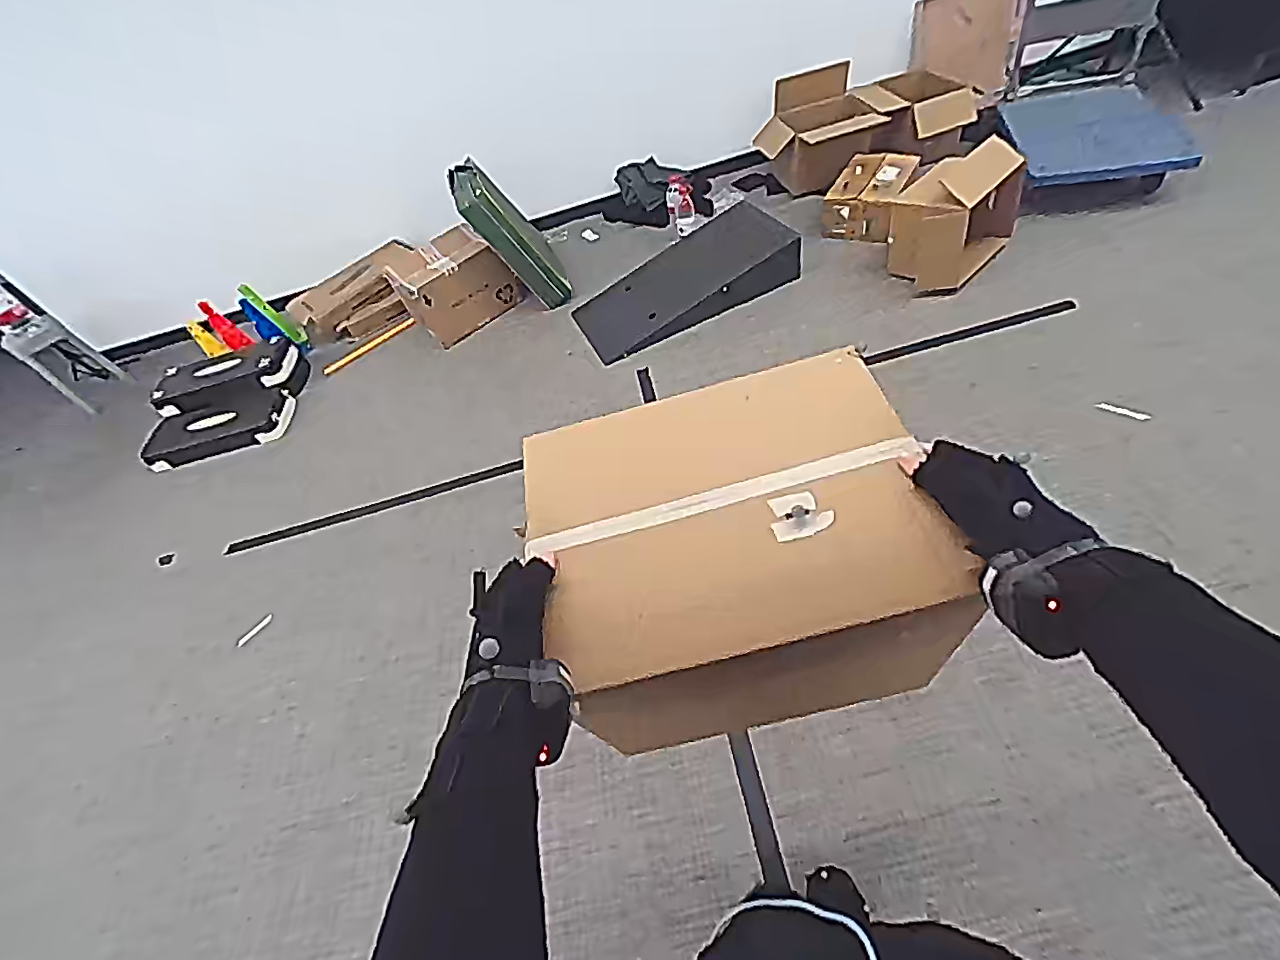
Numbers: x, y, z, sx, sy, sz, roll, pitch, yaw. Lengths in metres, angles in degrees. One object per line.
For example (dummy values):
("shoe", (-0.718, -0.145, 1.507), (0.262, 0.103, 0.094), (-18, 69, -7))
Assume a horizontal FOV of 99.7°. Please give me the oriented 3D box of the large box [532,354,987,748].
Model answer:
("large box", (0.114, 0.104, 0.684), (0.408, 0.320, 0.320), (-15, 54, 3))
